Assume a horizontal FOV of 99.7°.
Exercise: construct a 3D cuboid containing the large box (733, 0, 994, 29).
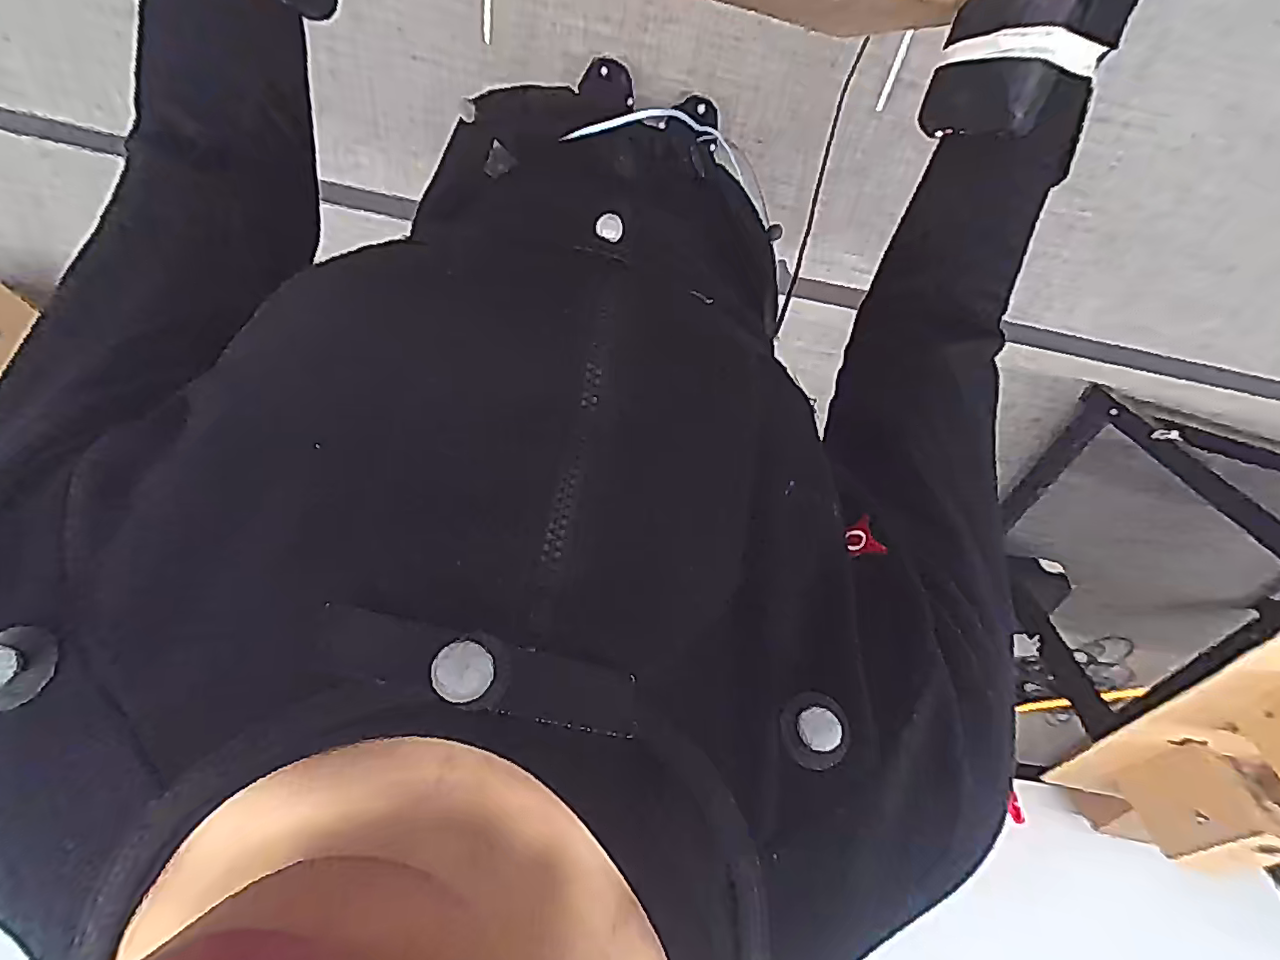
[{"bbox_3d":[0.048,-0.519,0.323,0.408,0.320,0.320,10,128,-7],"label":"large box"}]
